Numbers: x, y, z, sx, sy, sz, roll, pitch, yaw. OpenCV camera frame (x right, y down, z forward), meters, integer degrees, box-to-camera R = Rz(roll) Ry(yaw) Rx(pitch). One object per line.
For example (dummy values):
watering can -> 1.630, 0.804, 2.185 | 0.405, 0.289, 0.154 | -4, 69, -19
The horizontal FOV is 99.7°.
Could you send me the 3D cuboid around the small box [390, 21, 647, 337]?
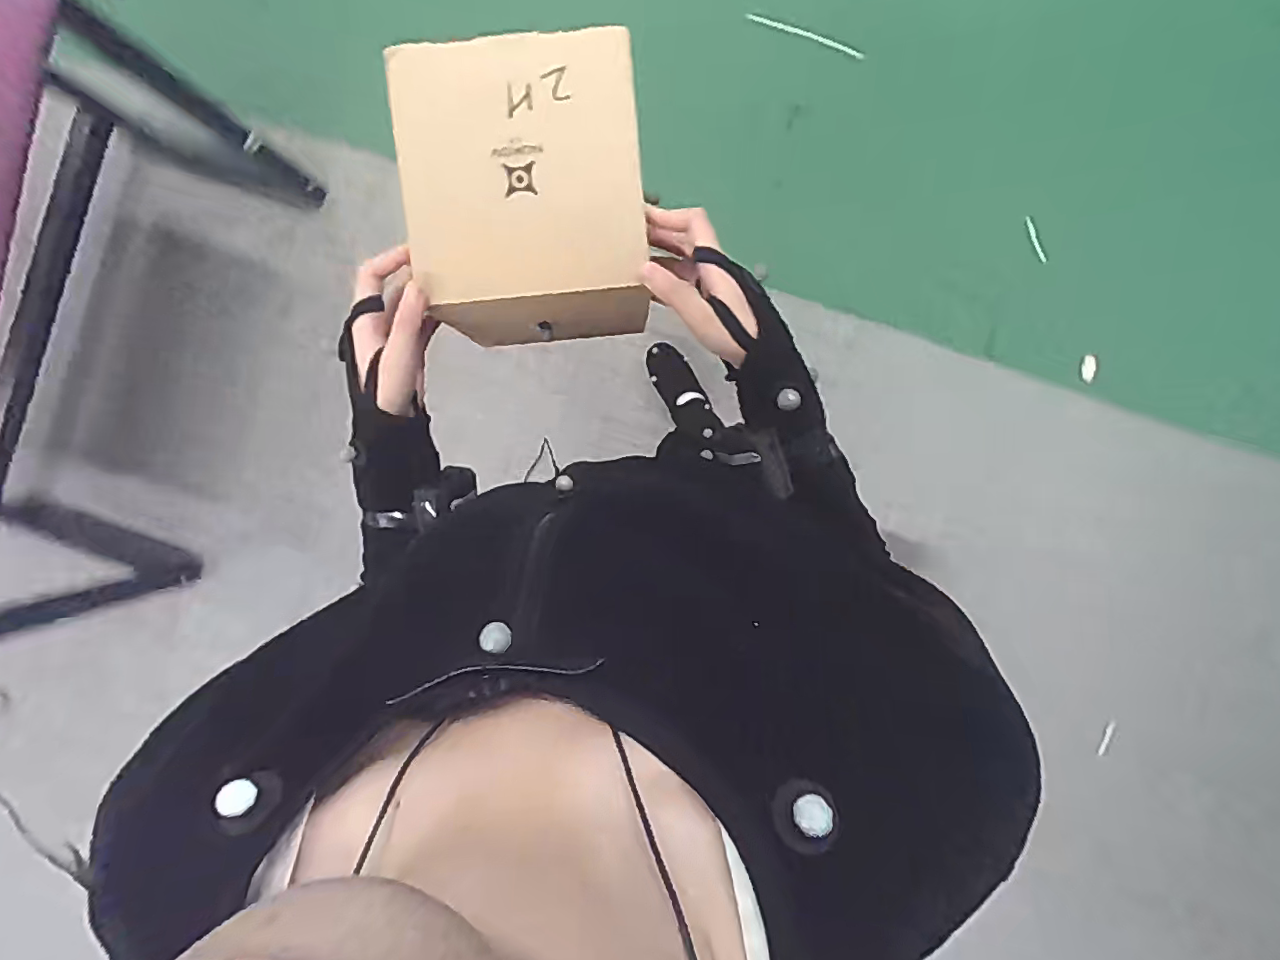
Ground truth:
small box -> -0.082, -0.223, 0.453 | 0.168, 0.176, 0.179 | -6, 93, 0
